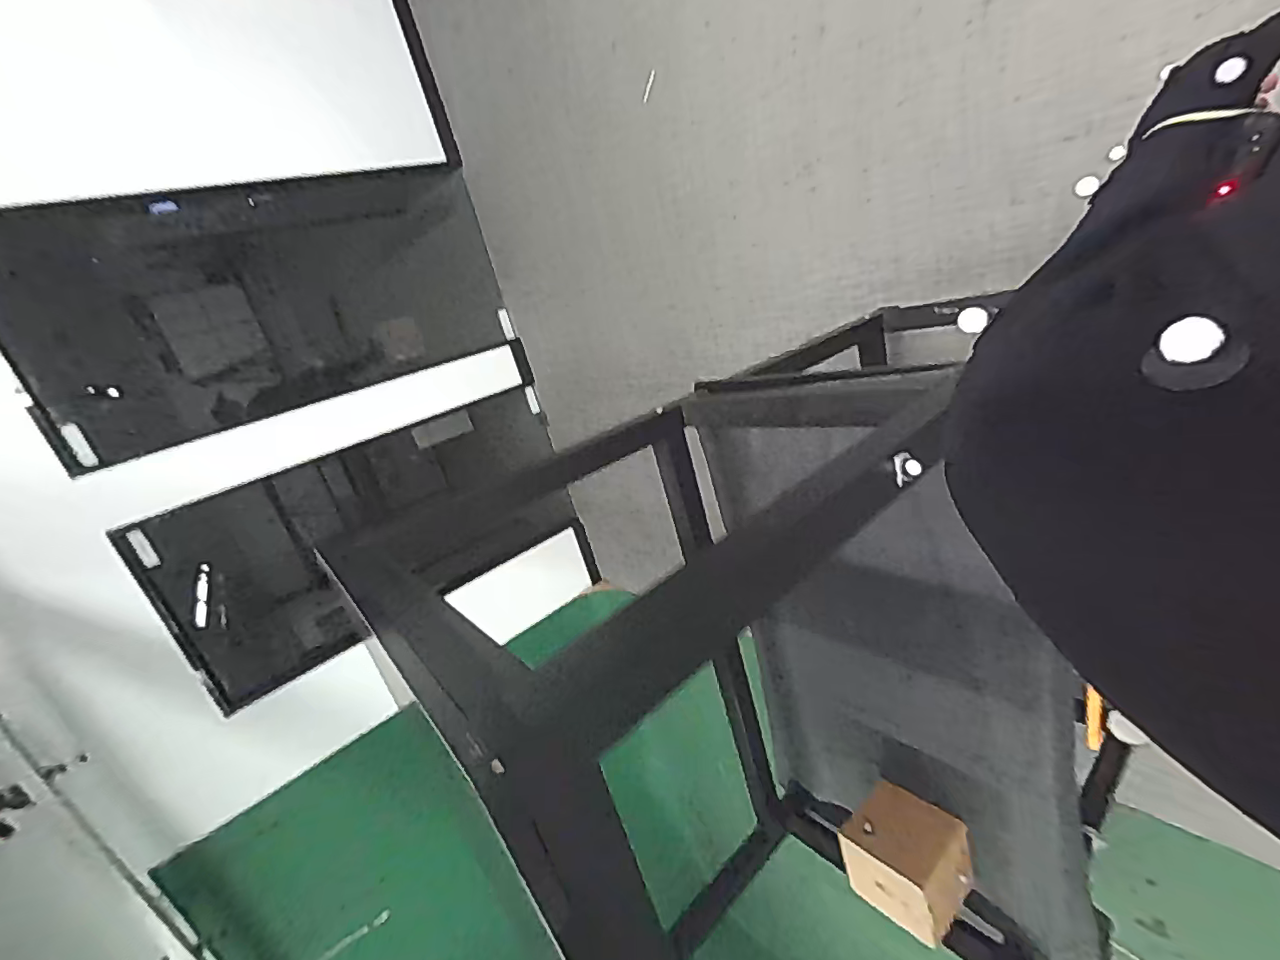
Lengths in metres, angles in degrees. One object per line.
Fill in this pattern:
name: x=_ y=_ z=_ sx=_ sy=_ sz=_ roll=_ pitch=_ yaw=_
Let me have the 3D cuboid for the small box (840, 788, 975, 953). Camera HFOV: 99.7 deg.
small box: x=0.536 y=0.760 z=1.081 sx=0.179 sy=0.176 sz=0.168 roll=6 pitch=118 yaw=54
